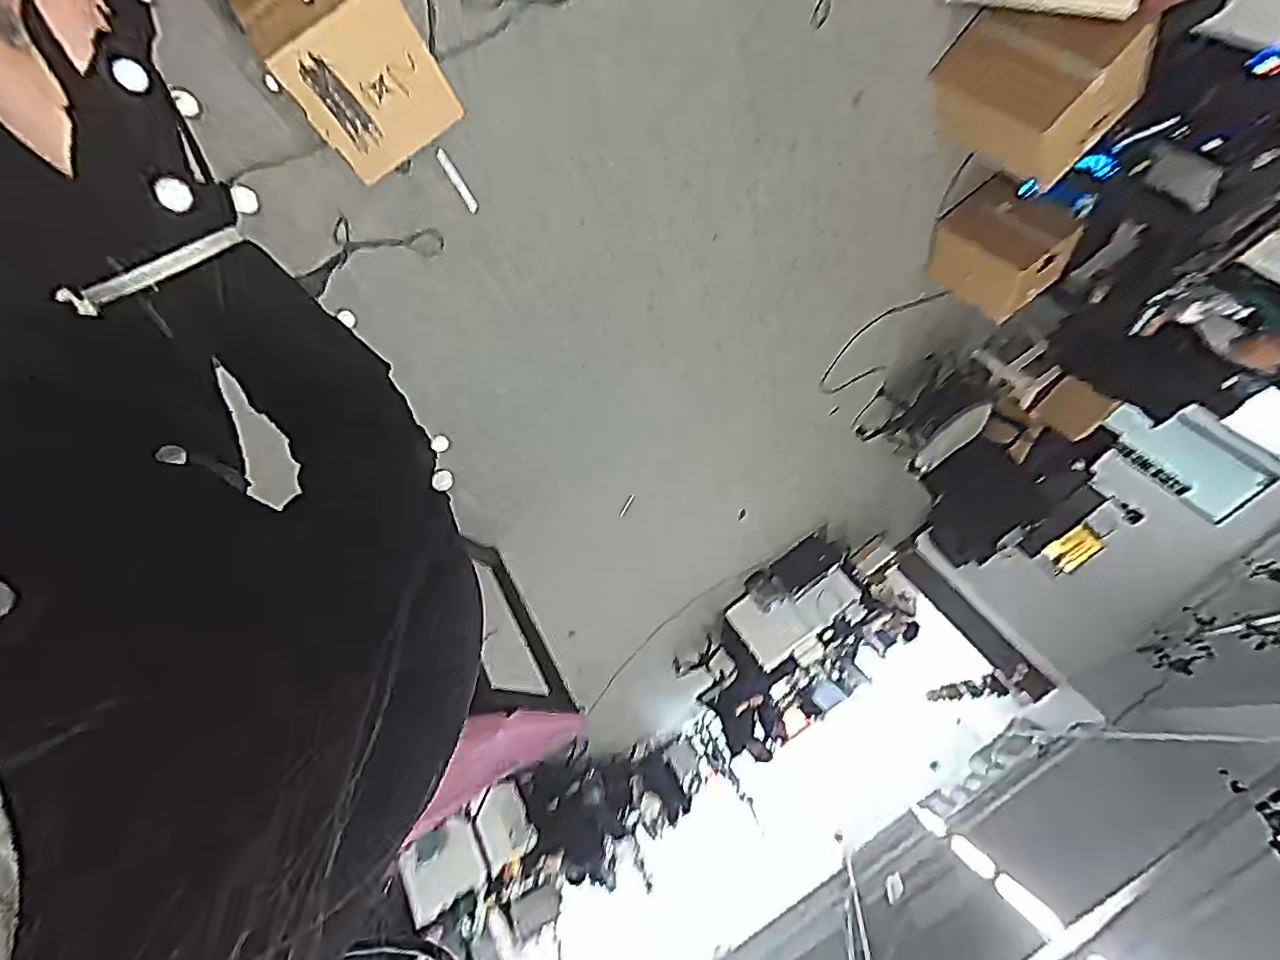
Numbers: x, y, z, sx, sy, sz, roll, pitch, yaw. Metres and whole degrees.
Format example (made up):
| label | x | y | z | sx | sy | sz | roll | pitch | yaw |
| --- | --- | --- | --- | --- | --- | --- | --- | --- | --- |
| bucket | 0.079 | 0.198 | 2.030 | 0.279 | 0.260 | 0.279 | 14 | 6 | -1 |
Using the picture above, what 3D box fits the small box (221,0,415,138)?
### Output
| label | x | y | z | sx | sy | sz | roll | pitch | yaw |
| --- | --- | --- | --- | --- | --- | --- | --- | --- | --- |
| small box | -0.480 | -0.666 | 0.805 | 0.179 | 0.176 | 0.168 | -36 | 151 | 0 |
